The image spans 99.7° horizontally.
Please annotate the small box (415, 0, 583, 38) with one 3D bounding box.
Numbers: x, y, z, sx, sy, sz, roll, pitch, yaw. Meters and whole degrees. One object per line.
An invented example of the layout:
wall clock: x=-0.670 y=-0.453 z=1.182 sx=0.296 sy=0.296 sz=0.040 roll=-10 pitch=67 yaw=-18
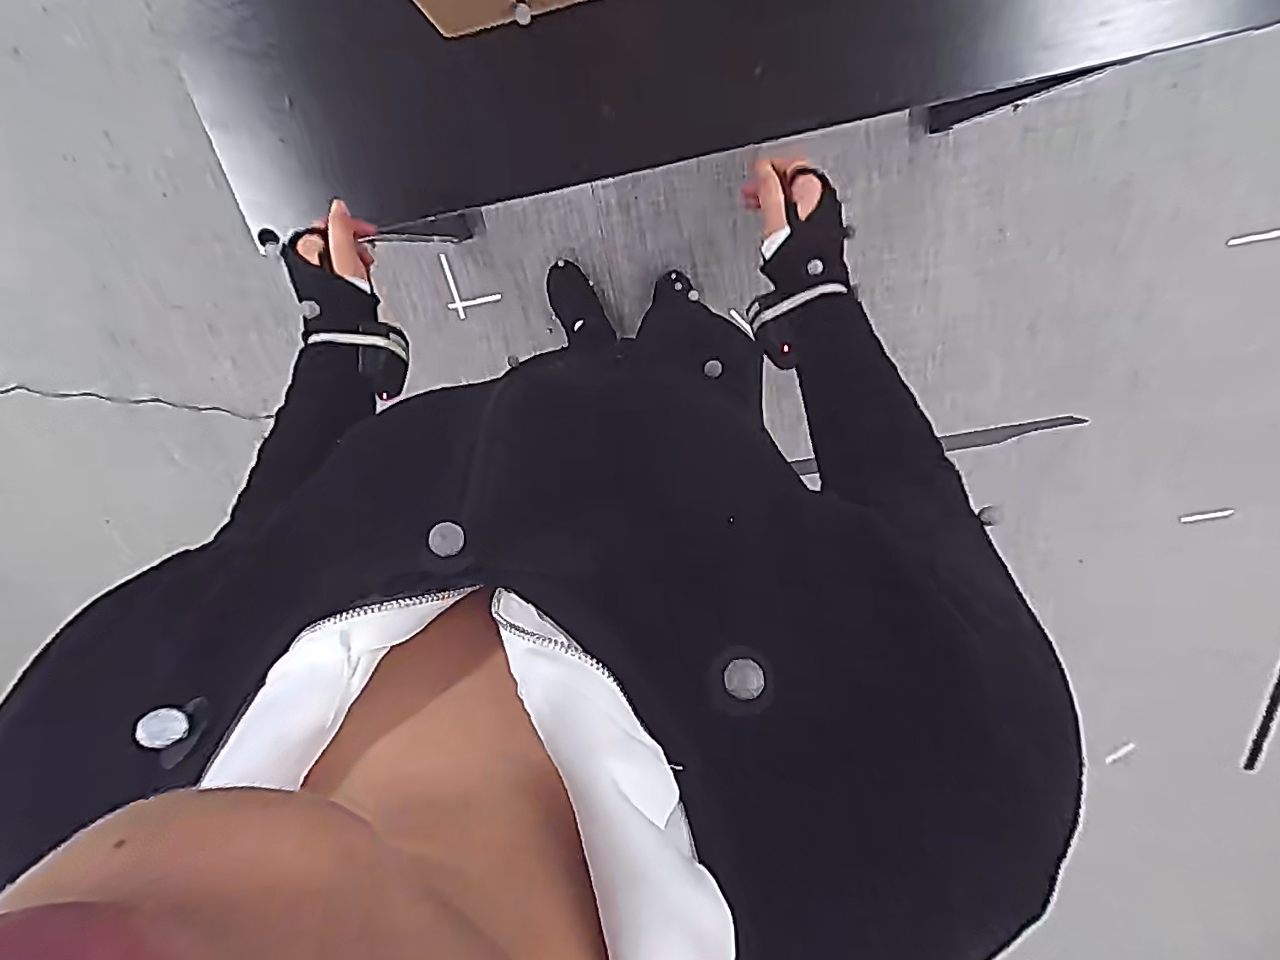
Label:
small box: x=-0.134 y=-0.522 z=0.461 sx=0.179 sy=0.176 sz=0.168 roll=-13 pitch=113 yaw=3
